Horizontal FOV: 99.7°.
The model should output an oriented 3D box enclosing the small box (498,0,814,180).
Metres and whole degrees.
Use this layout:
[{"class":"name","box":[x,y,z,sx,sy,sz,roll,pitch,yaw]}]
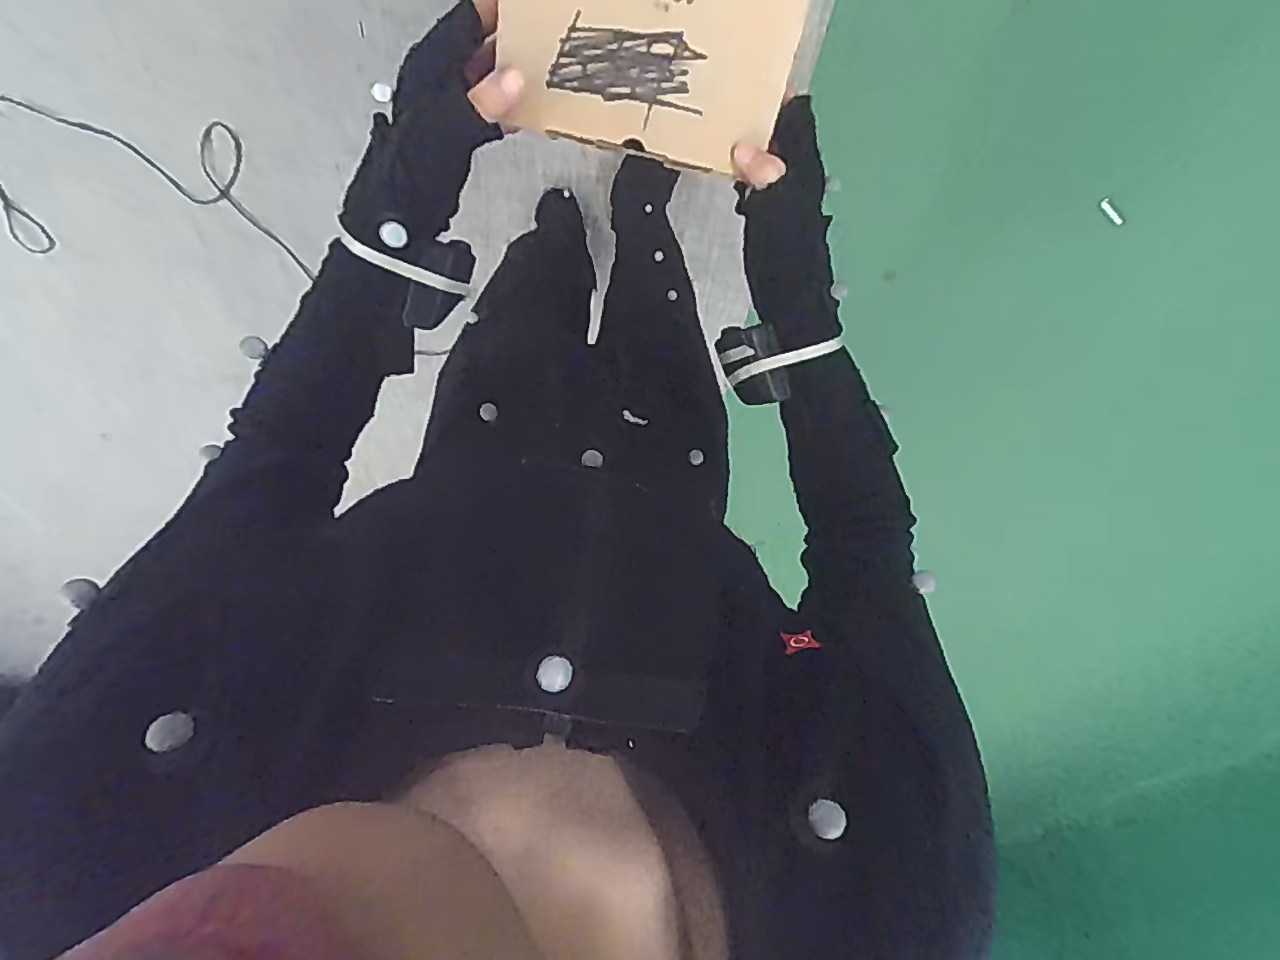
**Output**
[{"class":"small box","box":[0.009,-0.318,0.346,0.168,0.176,0.179,7,124,-12]}]
